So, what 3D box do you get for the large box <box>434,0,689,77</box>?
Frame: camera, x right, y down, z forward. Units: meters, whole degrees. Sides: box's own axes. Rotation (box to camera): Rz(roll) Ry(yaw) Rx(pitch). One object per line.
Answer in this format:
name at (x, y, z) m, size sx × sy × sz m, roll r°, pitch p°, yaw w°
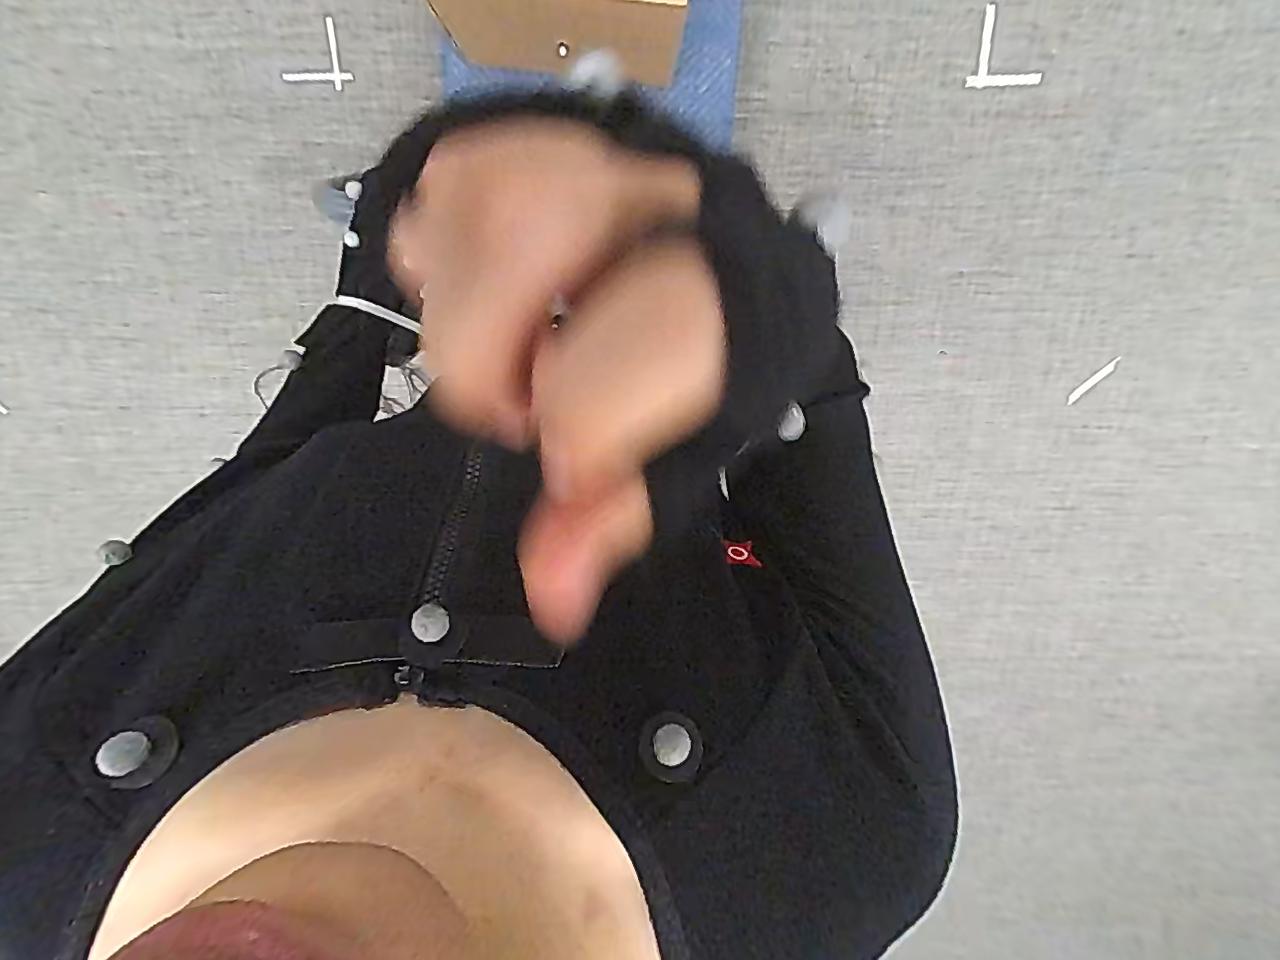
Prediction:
large box at (-0.117, -0.906, 0.882) m, size 0.408 × 0.320 × 0.320 m, roll 4°, pitch 107°, yaw -2°
